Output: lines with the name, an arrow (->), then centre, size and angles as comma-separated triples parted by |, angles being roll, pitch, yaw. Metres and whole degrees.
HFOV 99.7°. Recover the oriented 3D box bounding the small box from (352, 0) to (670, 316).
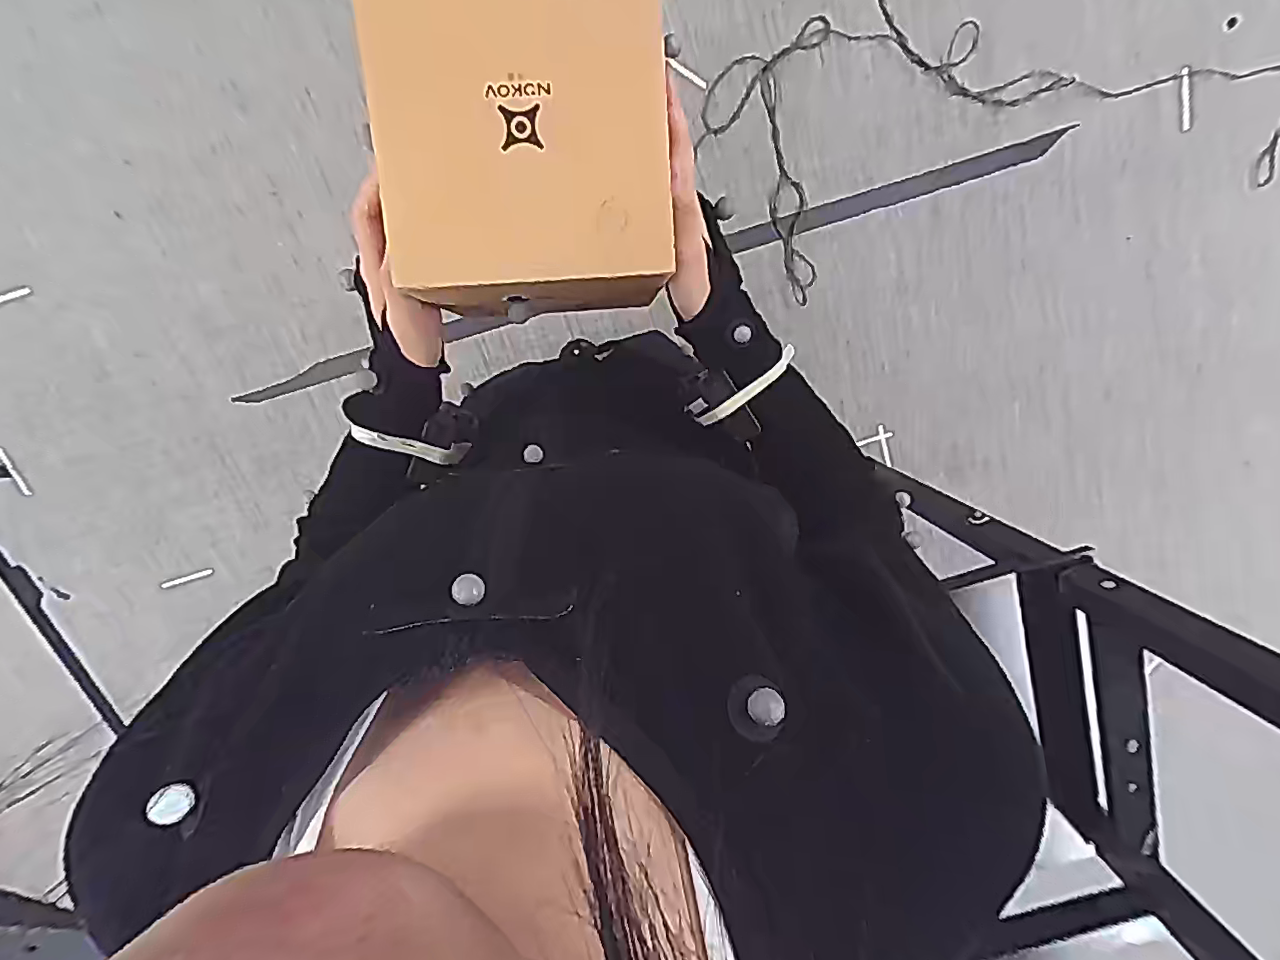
small box -> -0.071, -0.213, 0.378 | 0.168, 0.176, 0.179 | -5, 100, -3
